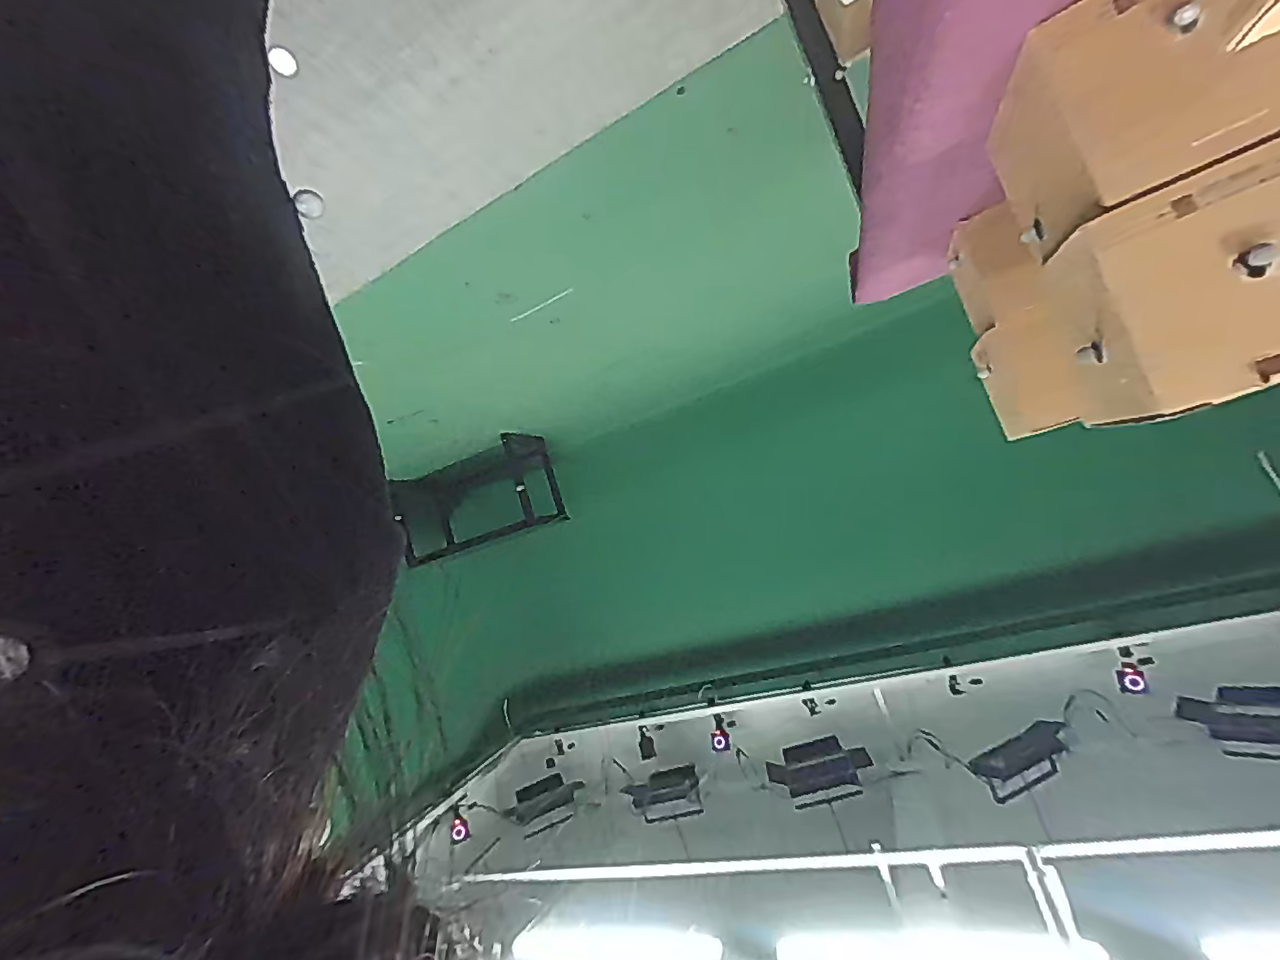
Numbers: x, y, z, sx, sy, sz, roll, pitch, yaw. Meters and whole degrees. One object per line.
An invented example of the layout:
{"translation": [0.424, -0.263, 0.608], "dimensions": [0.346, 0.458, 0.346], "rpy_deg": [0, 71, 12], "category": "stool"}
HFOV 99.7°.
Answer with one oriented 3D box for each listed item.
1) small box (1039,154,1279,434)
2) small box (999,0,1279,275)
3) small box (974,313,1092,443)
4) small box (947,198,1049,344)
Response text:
{"translation": [0.480, -0.151, 0.462], "dimensions": [0.168, 0.176, 0.179], "rpy_deg": [-20, 173, 23], "category": "small box"}
{"translation": [0.447, -0.312, 0.475], "dimensions": [0.168, 0.176, 0.179], "rpy_deg": [-21, 173, 22], "category": "small box"}
{"translation": [0.640, -0.167, 0.814], "dimensions": [0.179, 0.176, 0.168], "rpy_deg": [-21, 172, 23], "category": "small box"}
{"translation": [0.593, -0.326, 0.811], "dimensions": [0.179, 0.176, 0.168], "rpy_deg": [-21, 172, 24], "category": "small box"}
